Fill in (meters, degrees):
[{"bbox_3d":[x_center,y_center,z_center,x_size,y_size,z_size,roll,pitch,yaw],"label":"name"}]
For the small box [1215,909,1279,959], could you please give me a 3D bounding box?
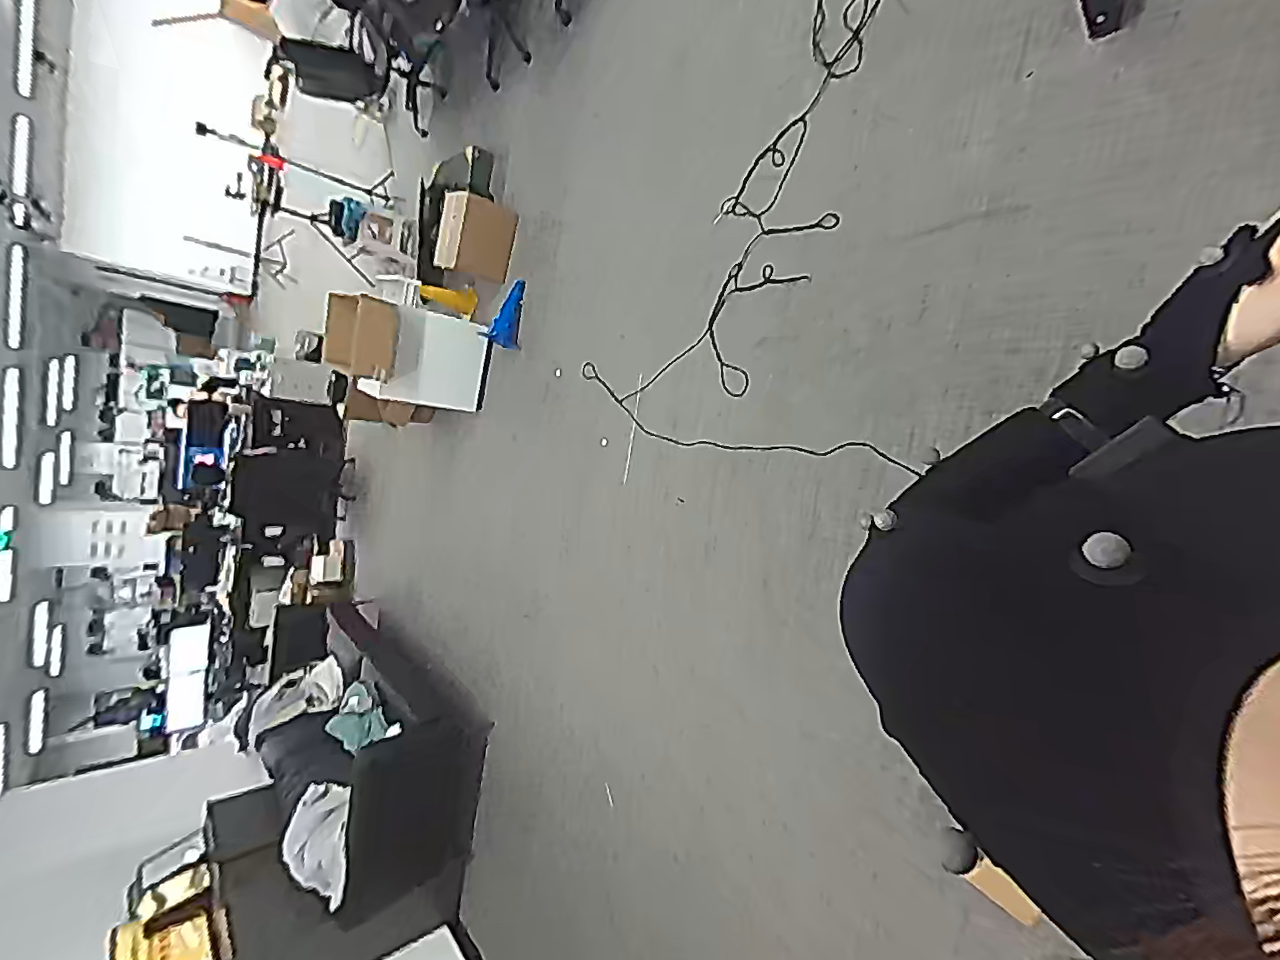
[{"bbox_3d":[1.123,0.904,0.929,0.168,0.176,0.179,23,104,45],"label":"small box"}]
